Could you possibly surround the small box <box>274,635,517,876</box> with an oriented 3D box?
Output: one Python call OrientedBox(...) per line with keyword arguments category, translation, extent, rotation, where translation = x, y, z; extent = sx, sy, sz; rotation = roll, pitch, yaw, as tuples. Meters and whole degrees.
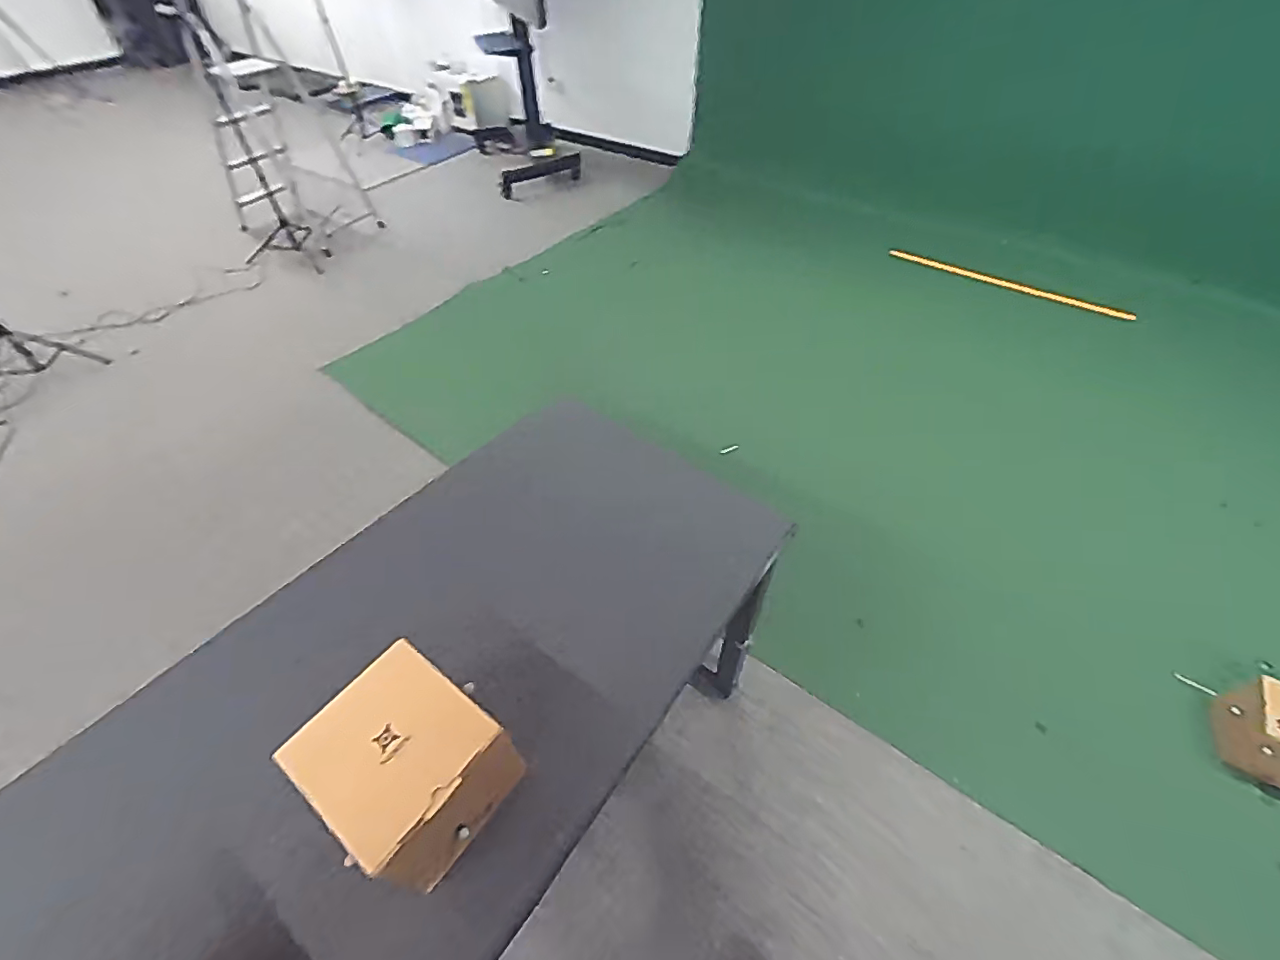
OrientedBox(category="small box", translation=(-0.269, 0.324, 0.632), extent=(0.179, 0.176, 0.168), rotation=(29, 55, 23))
